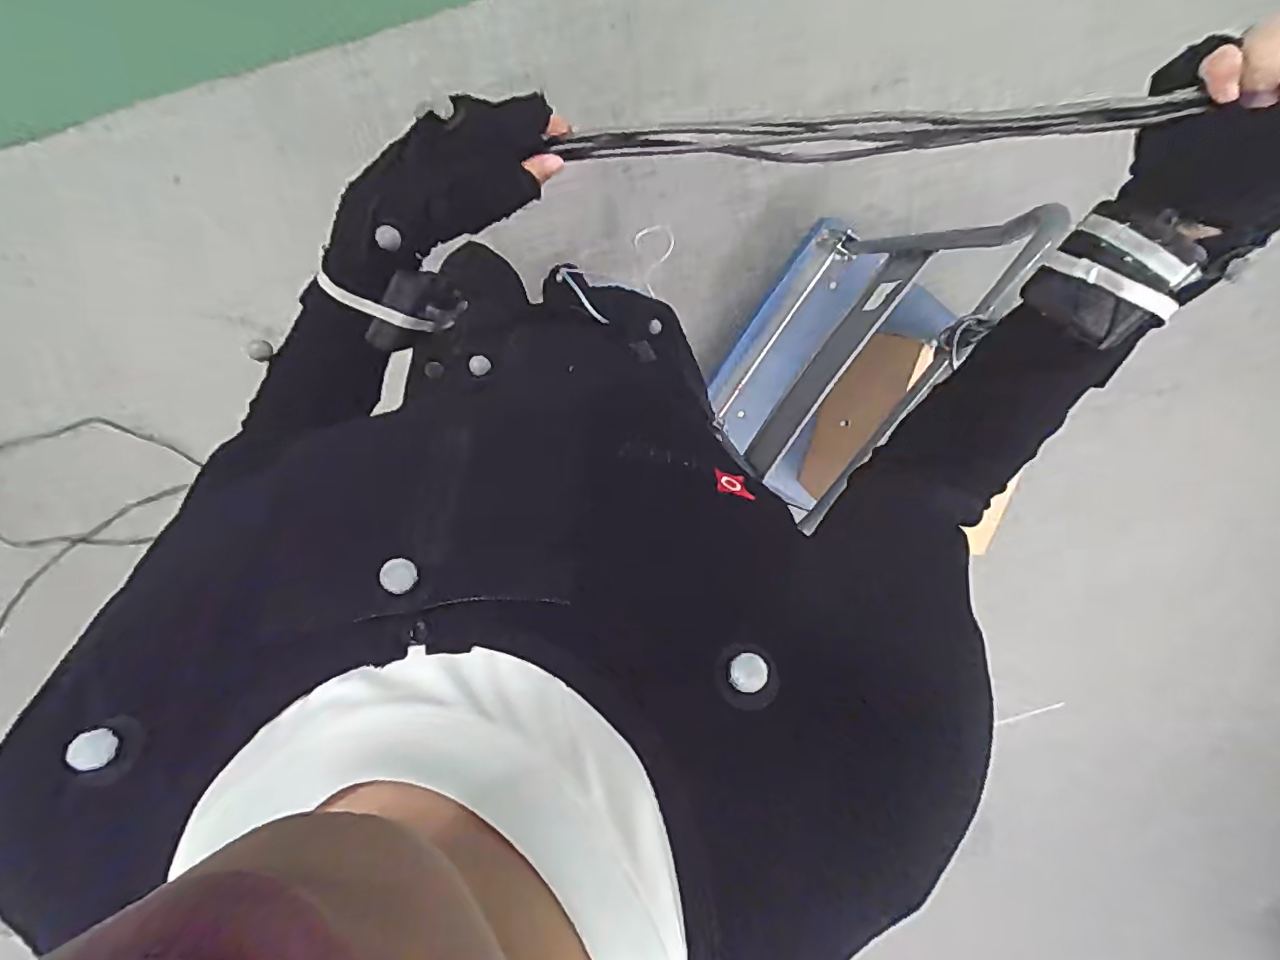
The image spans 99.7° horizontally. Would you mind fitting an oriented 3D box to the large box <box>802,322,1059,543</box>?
[{"bbox_3d":[0.613,-0.116,1.224,0.320,0.320,0.408,9,110,-10],"label":"large box"}]
